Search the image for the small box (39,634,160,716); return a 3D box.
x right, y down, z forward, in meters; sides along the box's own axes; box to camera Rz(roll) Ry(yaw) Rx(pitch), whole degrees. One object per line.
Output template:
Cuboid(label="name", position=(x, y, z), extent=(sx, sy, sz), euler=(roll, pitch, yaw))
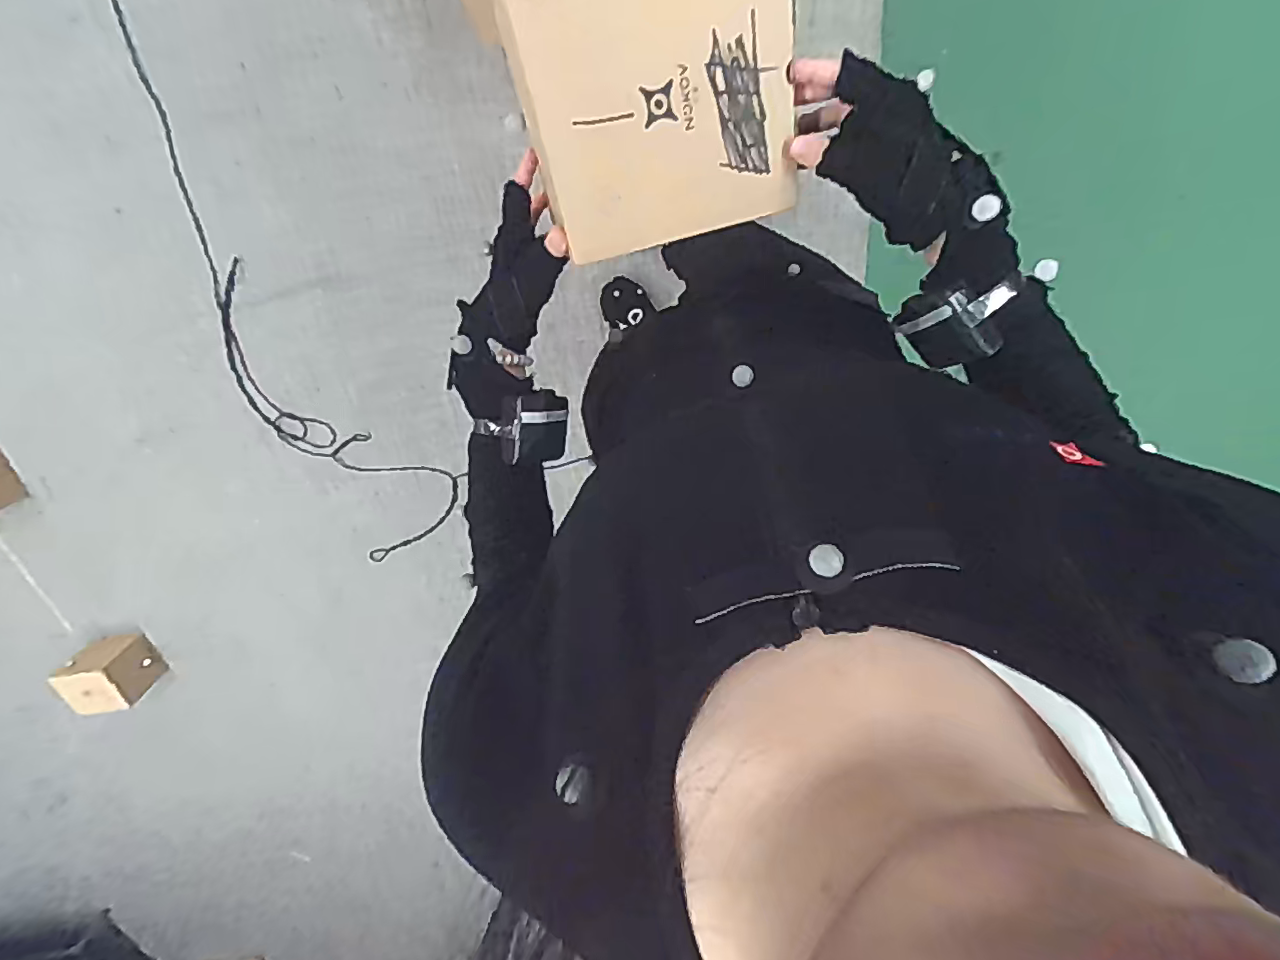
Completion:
Cuboid(label="small box", position=(-1.693, 0.611, 1.706), extent=(0.179, 0.176, 0.168), euler=(-8, 117, 1))

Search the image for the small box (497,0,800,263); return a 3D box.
Cuboid(label="small box", position=(0.001, -0.286, 0.405), extent=(0.179, 0.176, 0.168), euler=(-16, 127, -3))

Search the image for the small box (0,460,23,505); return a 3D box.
Cuboid(label="small box", position=(-1.802, 0.007, 1.399), extent=(0.168, 0.176, 0.179), euler=(-8, 117, 1))
